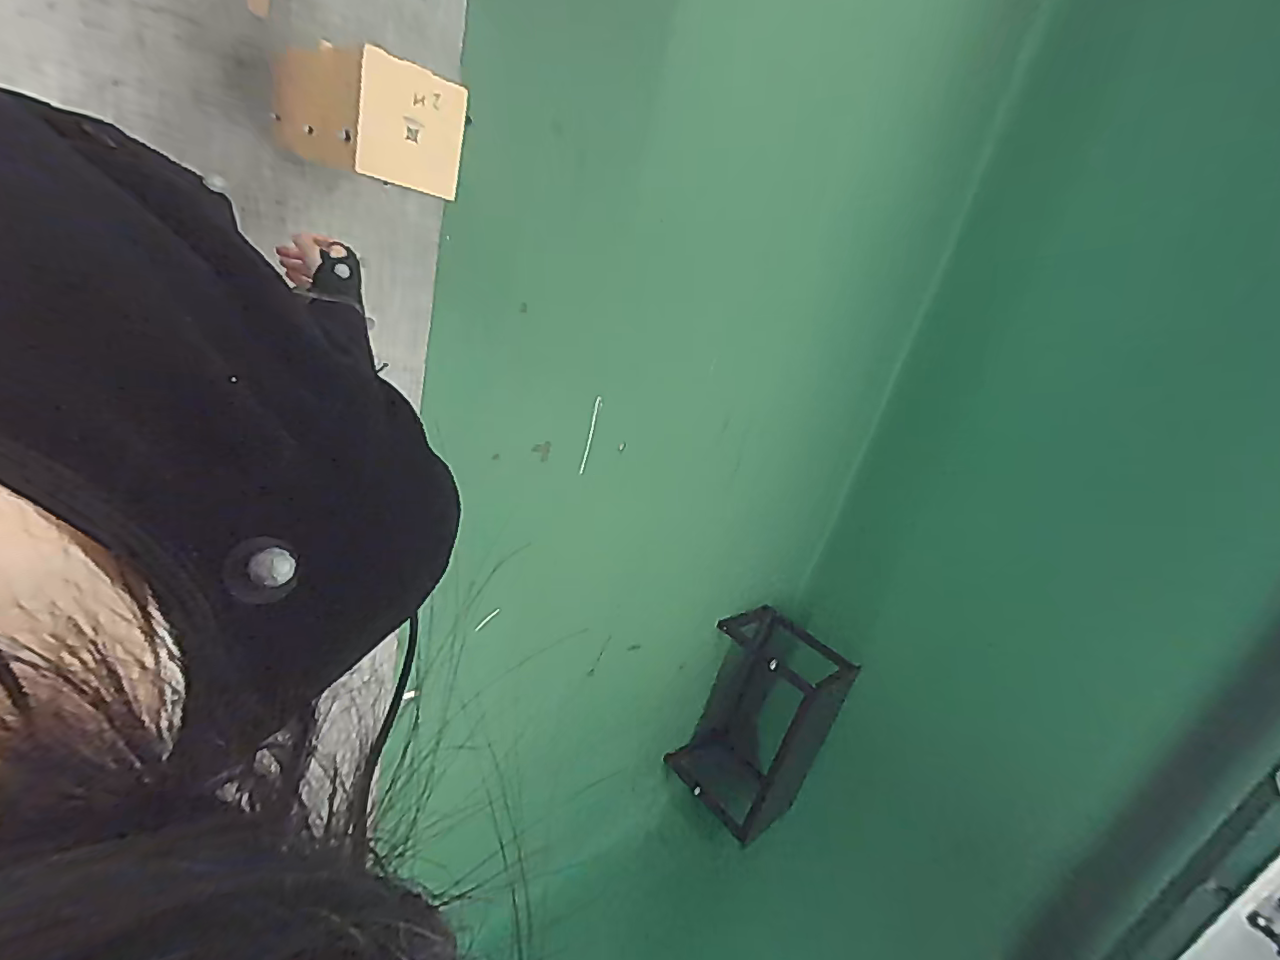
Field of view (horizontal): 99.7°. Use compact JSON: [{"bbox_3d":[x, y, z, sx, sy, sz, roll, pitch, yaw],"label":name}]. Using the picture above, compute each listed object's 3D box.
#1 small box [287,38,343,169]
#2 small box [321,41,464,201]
[{"bbox_3d":[-0.542,-0.677,1.006,0.168,0.176,0.179,-7,121,-44],"label":"small box"},{"bbox_3d":[-0.425,-0.600,0.917,0.168,0.176,0.179,-6,120,-45],"label":"small box"}]
